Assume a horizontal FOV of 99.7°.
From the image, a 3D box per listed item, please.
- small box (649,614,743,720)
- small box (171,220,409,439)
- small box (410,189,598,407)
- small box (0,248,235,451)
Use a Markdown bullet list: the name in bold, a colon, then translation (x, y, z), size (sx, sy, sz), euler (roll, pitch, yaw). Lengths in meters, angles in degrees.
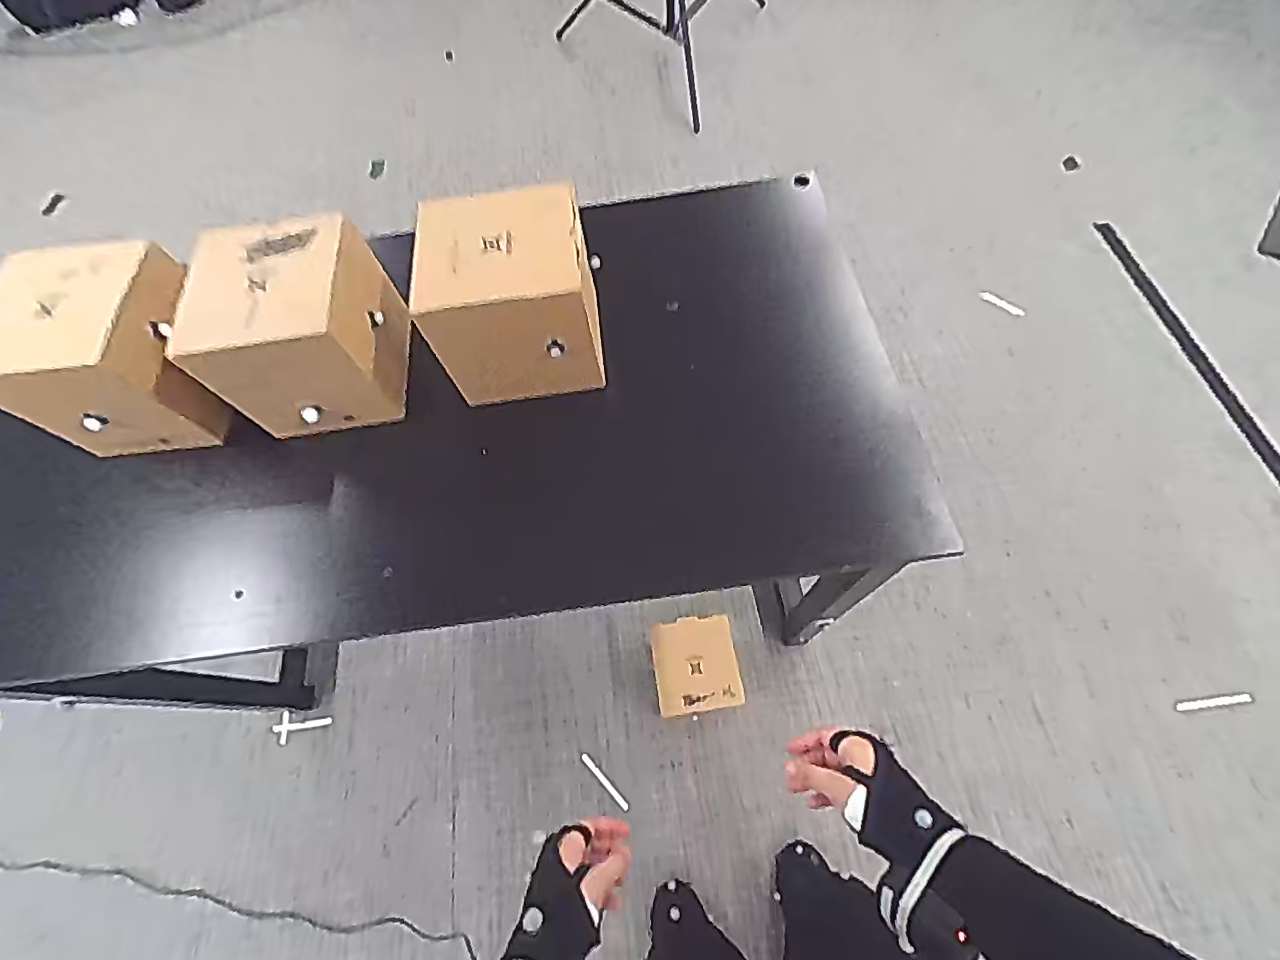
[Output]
- **small box**: translation (0.113, 0.399, 1.142), size (0.168, 0.176, 0.179), euler (-10, 64, 1)
- **small box**: translation (-0.393, -0.171, 0.646), size (0.168, 0.176, 0.179), euler (-9, 66, 0)
- **small box**: translation (-0.147, -0.208, 0.646), size (0.179, 0.176, 0.168), euler (-9, 63, 2)
- **small box**: translation (-0.616, -0.145, 0.653), size (0.168, 0.176, 0.179), euler (-5, 64, 1)
